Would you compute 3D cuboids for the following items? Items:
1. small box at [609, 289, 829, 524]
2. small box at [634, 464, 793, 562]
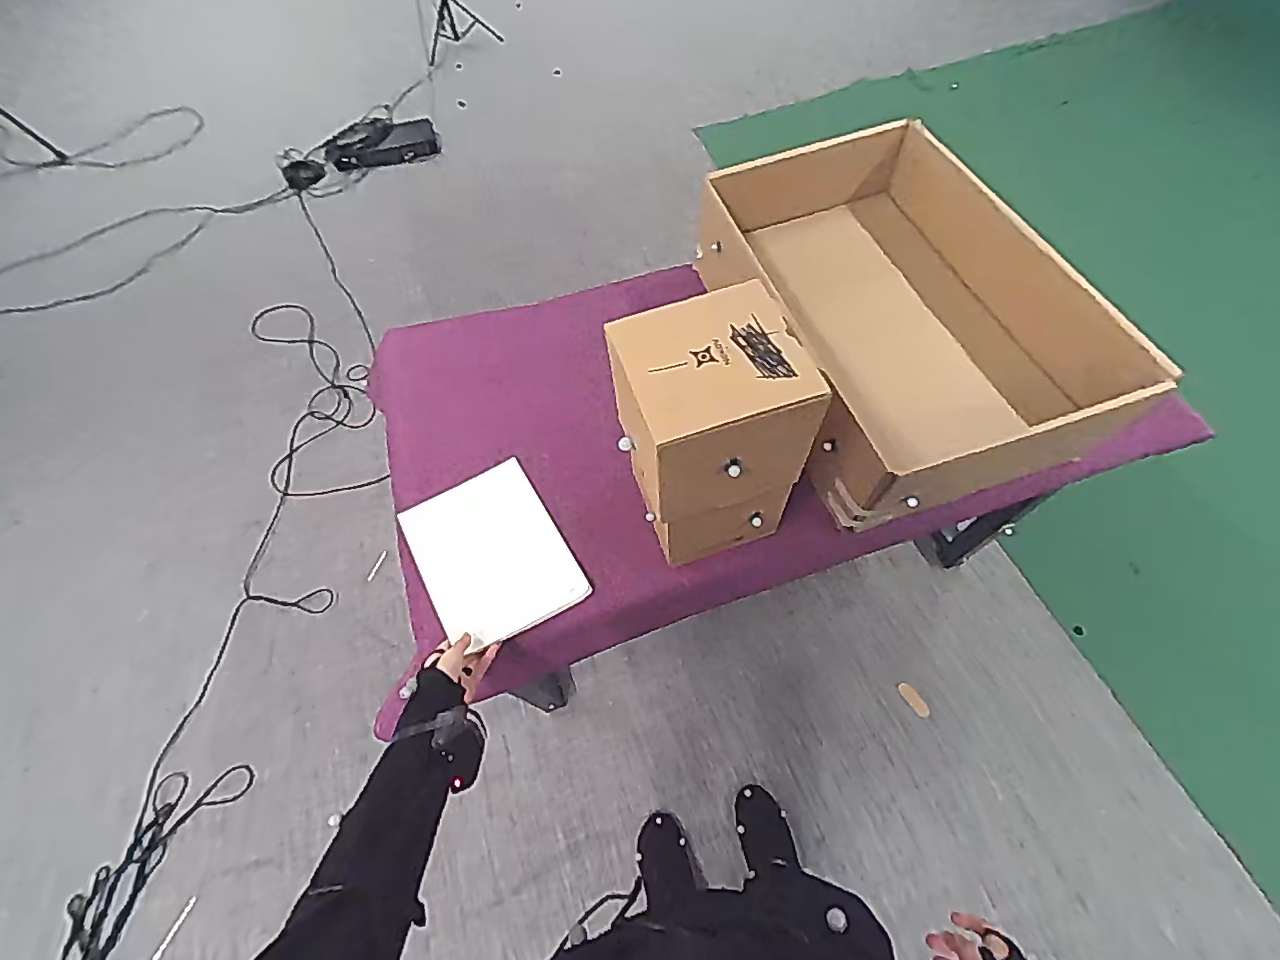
[{"bbox_3d":[0.076,-0.075,0.600,0.179,0.176,0.168,-17,59,-6],"label":"small box"},{"bbox_3d":[0.089,-0.003,0.748,0.168,0.176,0.179,-17,59,-6],"label":"small box"}]
